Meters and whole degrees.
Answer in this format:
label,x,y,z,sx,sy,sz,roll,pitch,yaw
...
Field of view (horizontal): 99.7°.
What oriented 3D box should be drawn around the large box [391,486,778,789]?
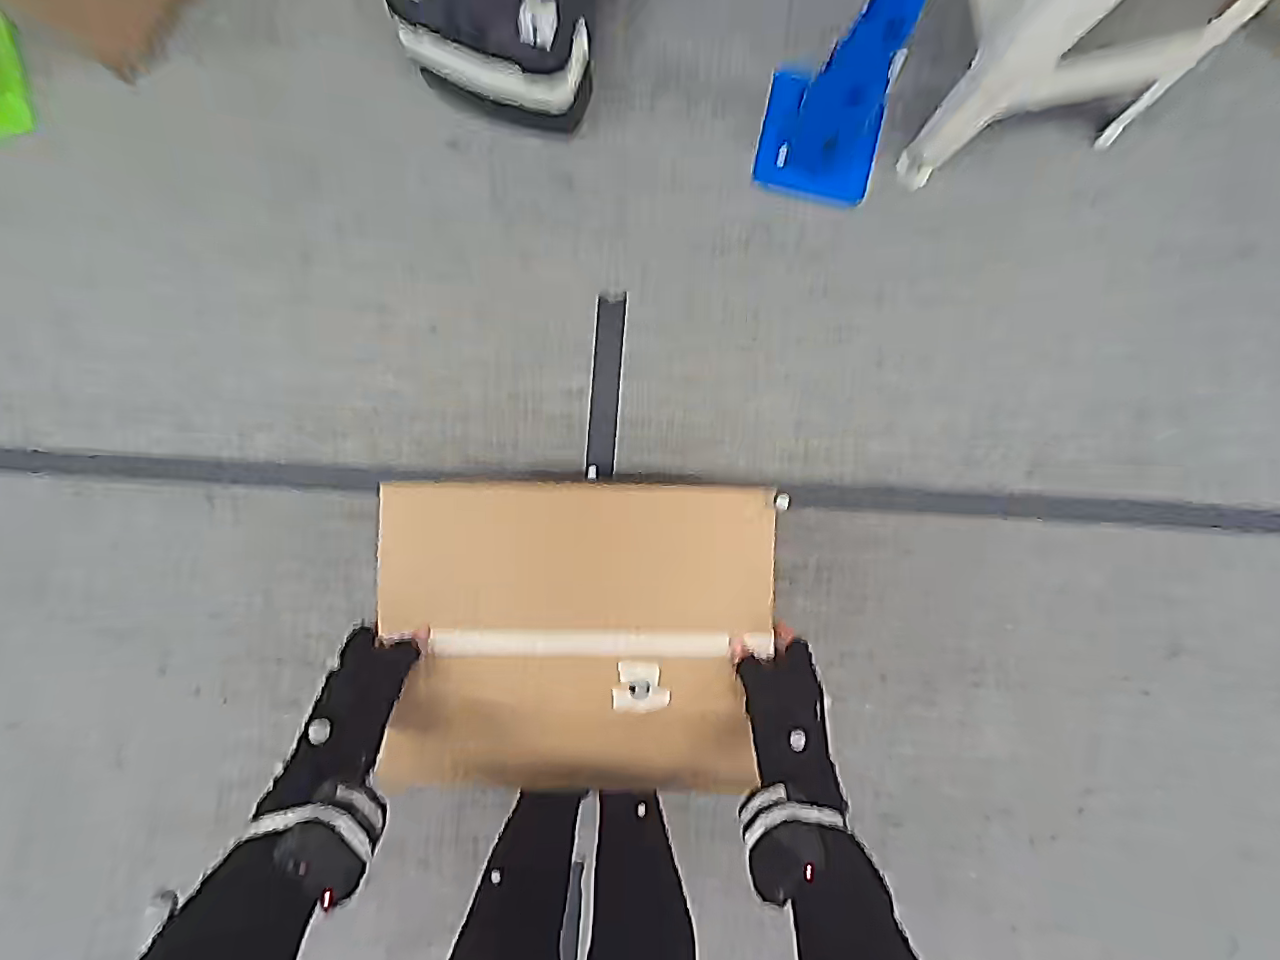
label,x,y,z,sx,sy,sz,roll,pitch,yaw
large box,-0.059,0.163,0.704,0.408,0.320,0.320,1,91,-1
